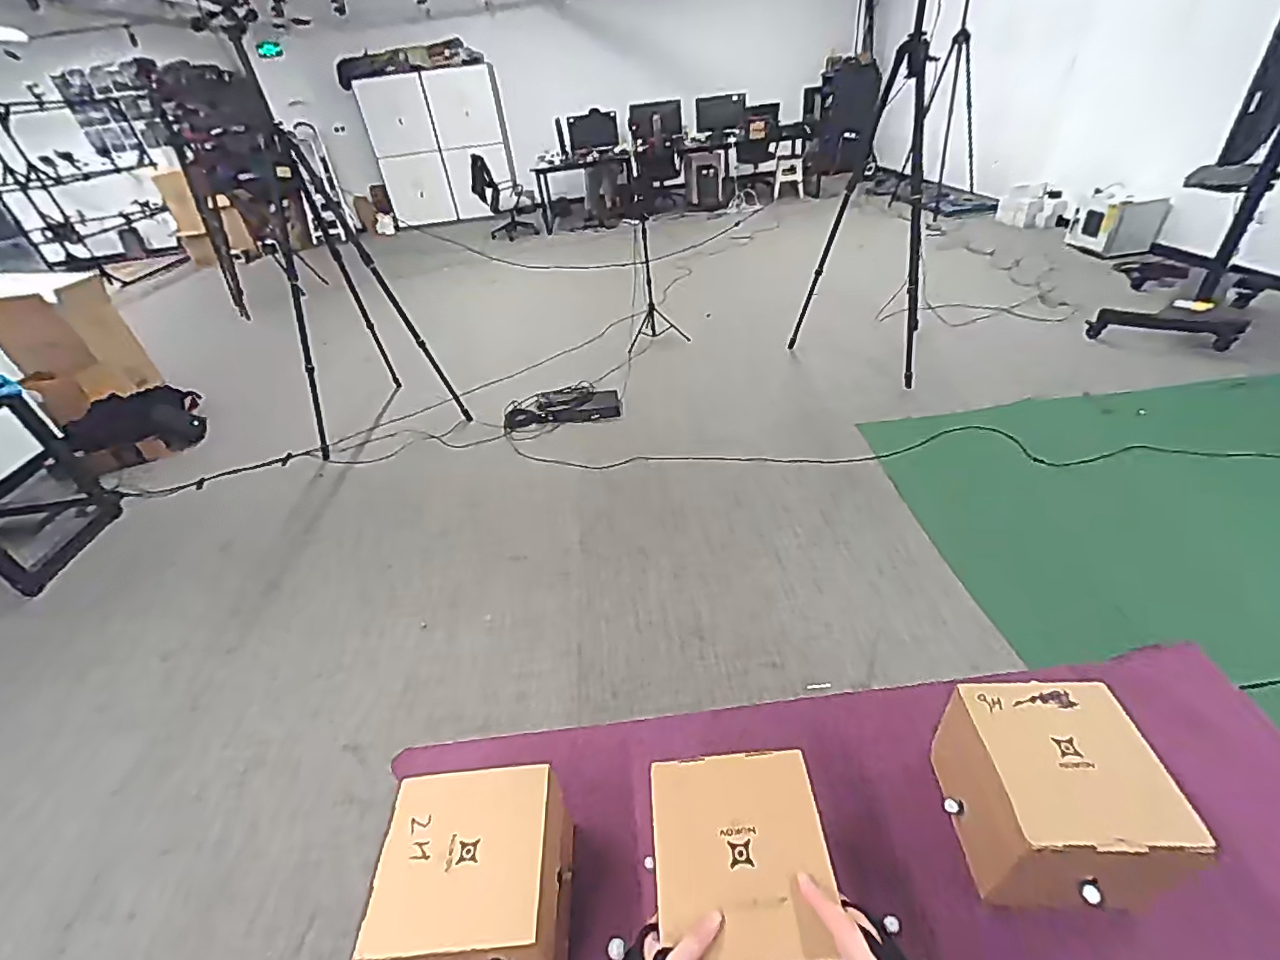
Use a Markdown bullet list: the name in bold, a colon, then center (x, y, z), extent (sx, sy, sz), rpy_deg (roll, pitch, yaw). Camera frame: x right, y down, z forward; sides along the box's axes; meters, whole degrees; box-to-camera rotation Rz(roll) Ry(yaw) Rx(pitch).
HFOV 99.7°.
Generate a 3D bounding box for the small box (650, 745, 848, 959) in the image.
- **small box**: center (0.102, 0.410, 0.573), extent (0.168, 0.176, 0.179), rpy_deg (-7, 41, 3)

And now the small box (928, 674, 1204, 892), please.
- **small box**: center (0.460, 0.349, 0.624), extent (0.168, 0.176, 0.179), rpy_deg (-3, 38, 7)

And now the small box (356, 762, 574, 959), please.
- **small box**: center (-0.176, 0.450, 0.618), extent (0.179, 0.176, 0.168), rpy_deg (-7, 36, 2)
